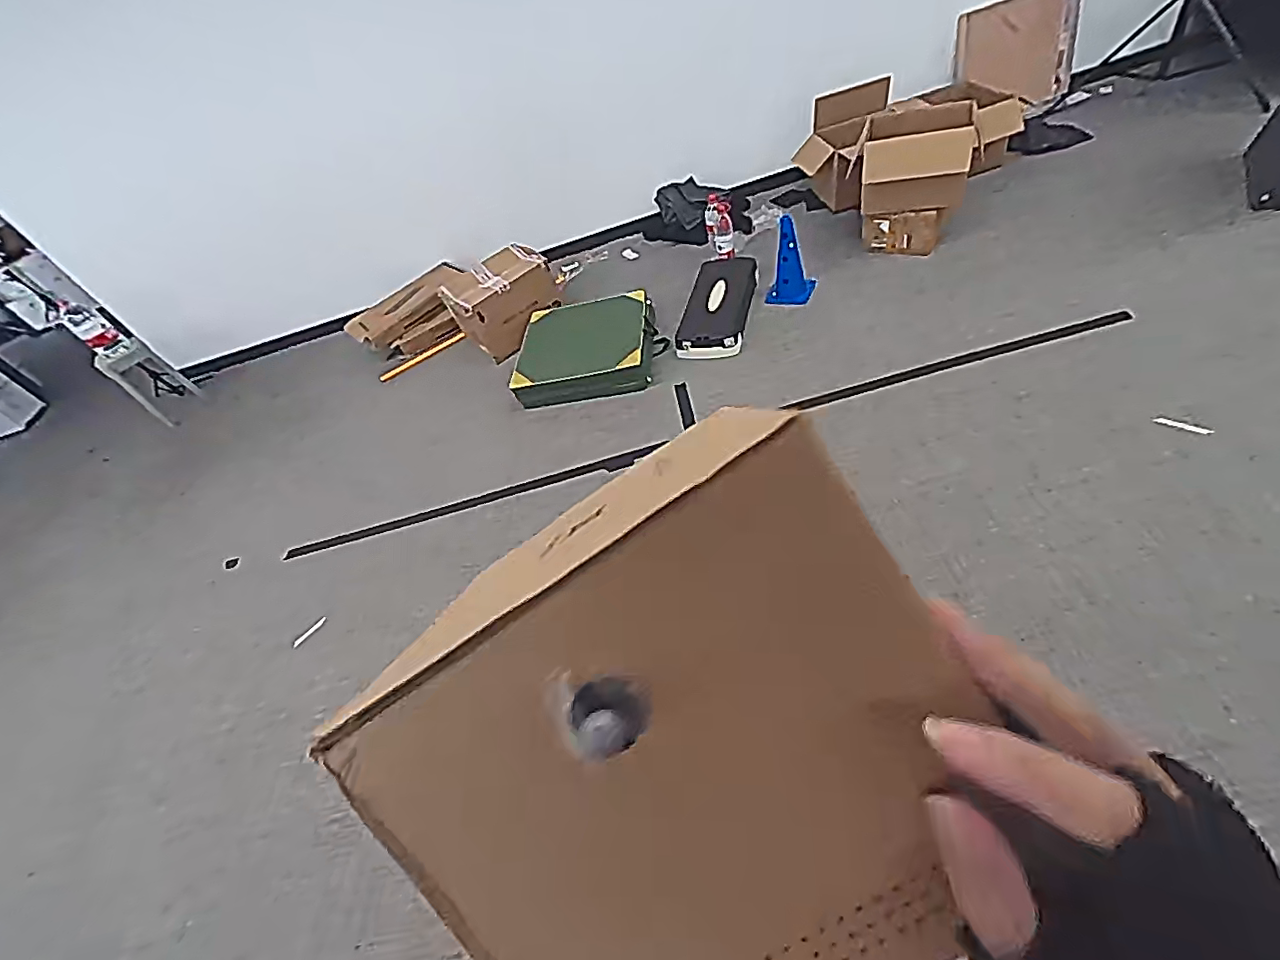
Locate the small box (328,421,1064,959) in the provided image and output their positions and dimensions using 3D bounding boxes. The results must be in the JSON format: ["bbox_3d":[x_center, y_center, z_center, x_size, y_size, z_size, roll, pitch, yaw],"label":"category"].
[{"bbox_3d":[0.023,0.092,0.240,0.179,0.176,0.168,-34,6,5],"label":"small box"}]
